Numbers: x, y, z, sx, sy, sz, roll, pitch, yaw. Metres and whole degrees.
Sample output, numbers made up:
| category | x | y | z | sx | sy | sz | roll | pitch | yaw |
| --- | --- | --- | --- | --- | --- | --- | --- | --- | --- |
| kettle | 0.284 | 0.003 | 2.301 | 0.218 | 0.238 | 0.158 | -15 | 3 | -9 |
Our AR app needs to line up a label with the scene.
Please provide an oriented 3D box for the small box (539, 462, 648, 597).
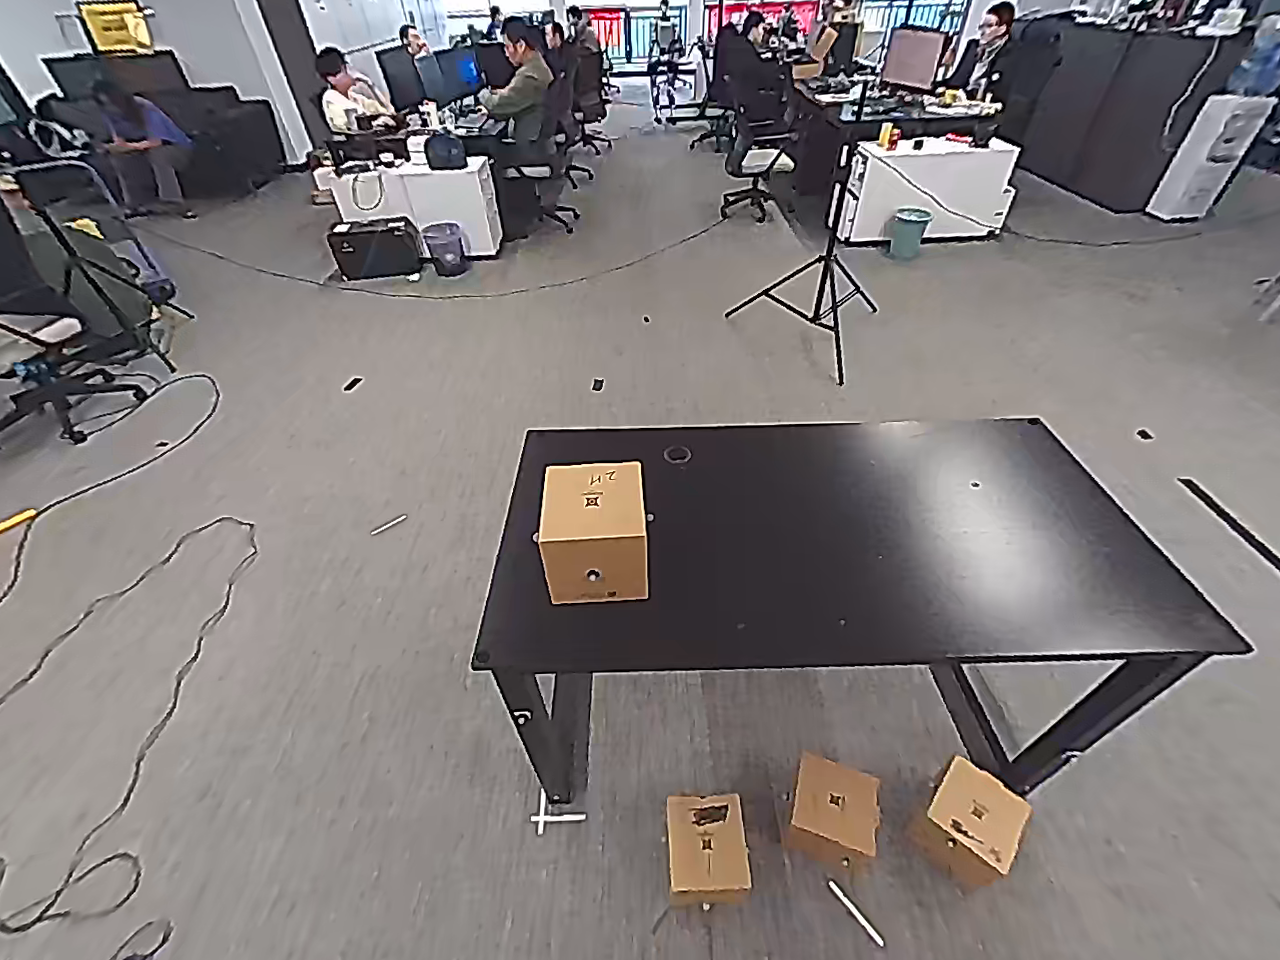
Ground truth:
| category | x | y | z | sx | sy | sz | roll | pitch | yaw |
| --- | --- | --- | --- | --- | --- | --- | --- | --- | --- |
| small box | -0.074 | 0.090 | 0.938 | 0.168 | 0.176 | 0.179 | -3 | 43 | -1 |

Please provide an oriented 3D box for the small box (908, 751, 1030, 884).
| category | x | y | z | sx | sy | sz | roll | pitch | yaw |
| --- | --- | --- | --- | --- | --- | --- | --- | --- | --- |
| small box | 0.744 | 0.771 | 1.237 | 0.168 | 0.176 | 0.179 | 31 | 53 | 31 |

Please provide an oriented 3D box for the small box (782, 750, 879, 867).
| category | x | y | z | sx | sy | sz | roll | pitch | yaw |
| --- | --- | --- | --- | --- | --- | --- | --- | --- | --- |
| small box | 0.441 | 0.768 | 1.260 | 0.179 | 0.176 | 0.168 | 12 | 44 | 16 |

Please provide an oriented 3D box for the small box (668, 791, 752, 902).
| category | x | y | z | sx | sy | sz | roll | pitch | yaw |
| --- | --- | --- | --- | --- | --- | --- | --- | --- | --- |
| small box | 0.148 | 0.822 | 1.214 | 0.168 | 0.176 | 0.179 | -3 | 45 | 0 |
